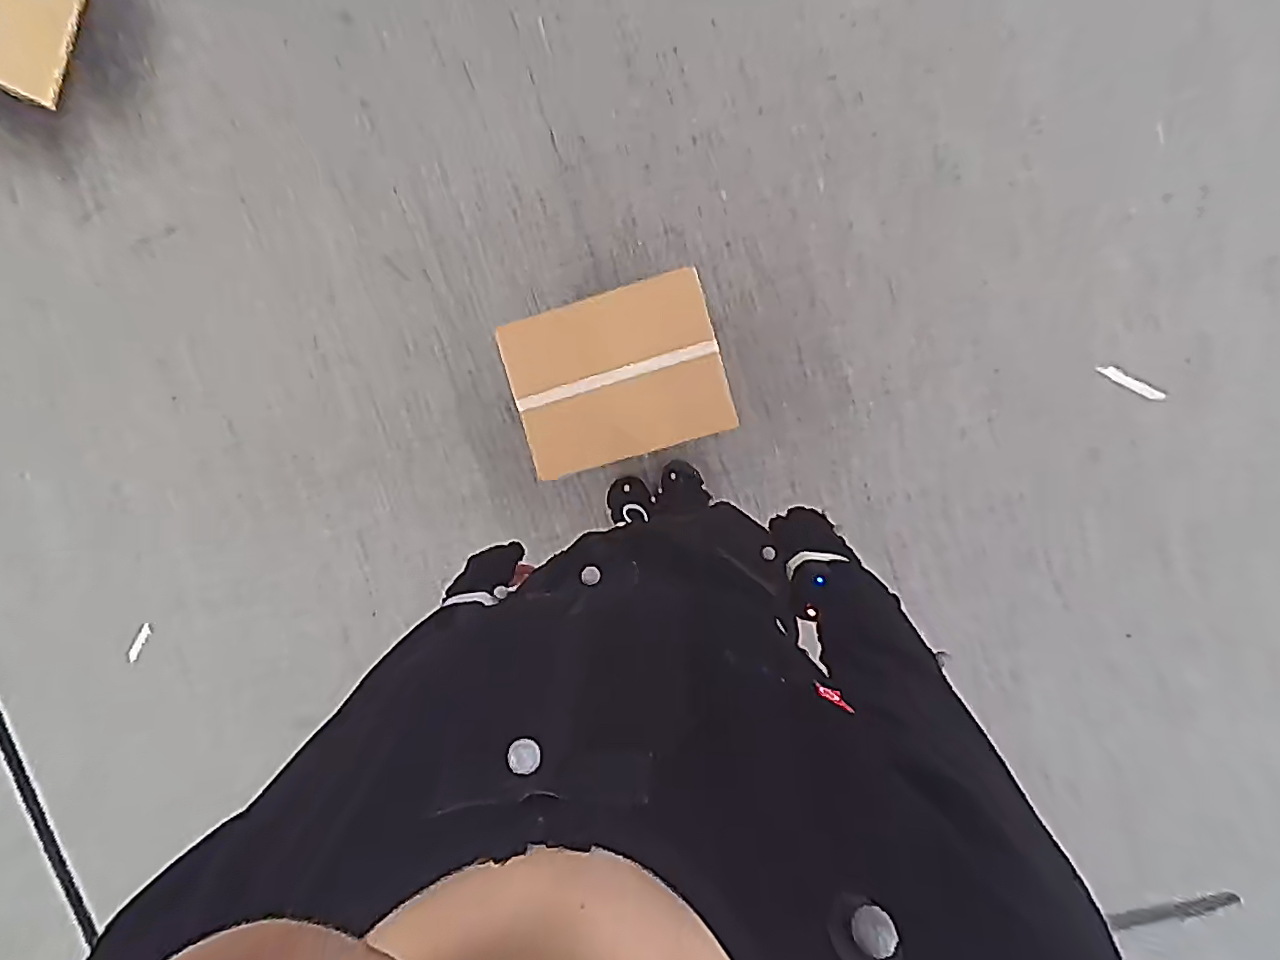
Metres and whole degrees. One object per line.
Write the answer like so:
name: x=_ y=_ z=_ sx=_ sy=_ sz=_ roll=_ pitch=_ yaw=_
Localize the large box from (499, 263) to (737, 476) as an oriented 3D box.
large box: x=-0.034 y=-0.222 z=1.188 sx=0.408 sy=0.320 sz=0.320 roll=-16 pitch=96 yaw=6
